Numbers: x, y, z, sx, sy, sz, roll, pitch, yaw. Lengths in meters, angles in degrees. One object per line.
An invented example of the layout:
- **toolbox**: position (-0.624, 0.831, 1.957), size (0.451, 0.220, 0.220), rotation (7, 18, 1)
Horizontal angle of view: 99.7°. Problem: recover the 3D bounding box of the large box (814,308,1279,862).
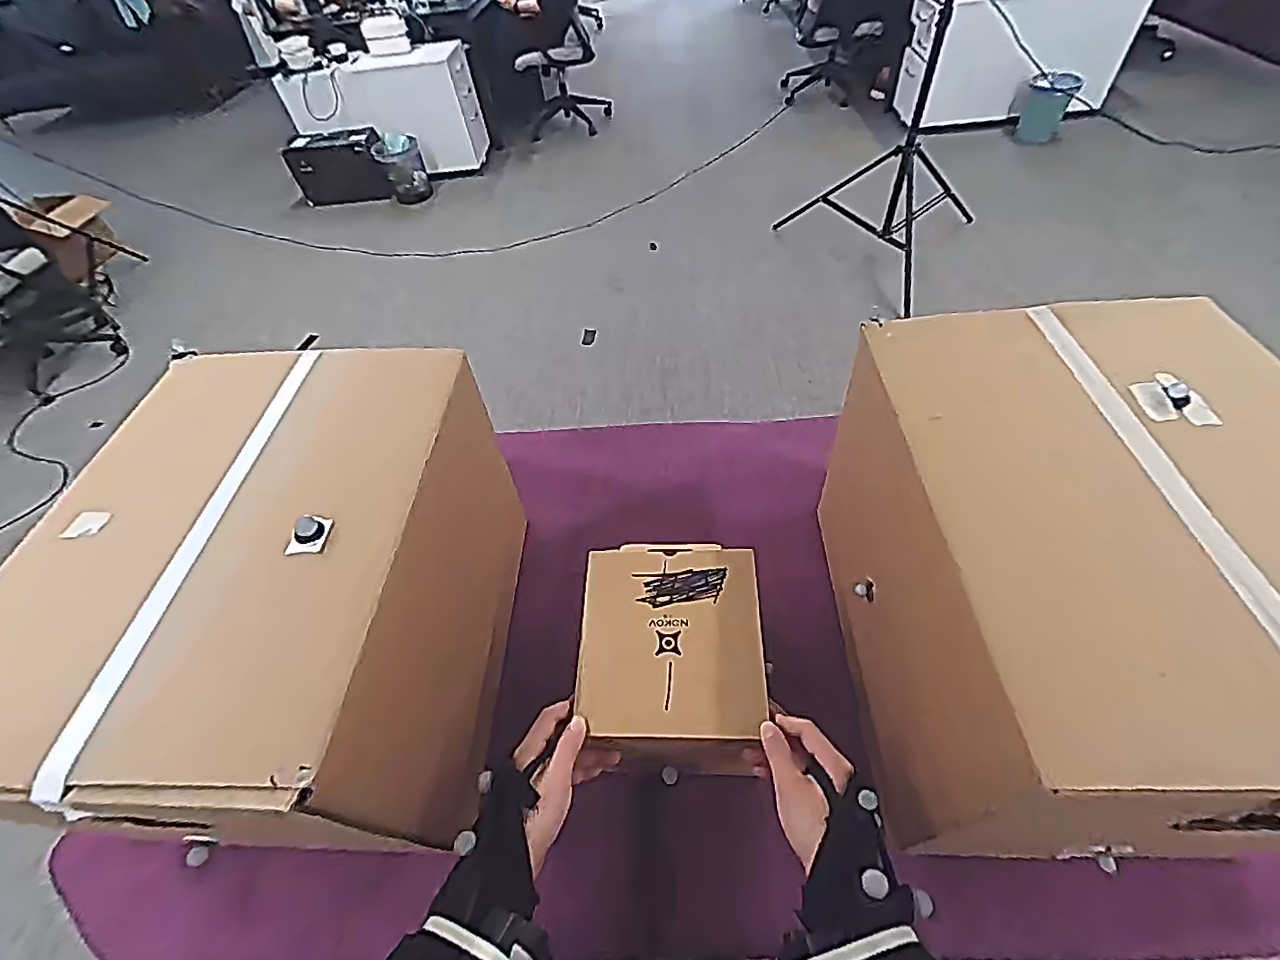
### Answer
- **large box**: position (0.373, 0.096, 0.504), size (0.320, 0.320, 0.408), rotation (-3, 50, 5)
